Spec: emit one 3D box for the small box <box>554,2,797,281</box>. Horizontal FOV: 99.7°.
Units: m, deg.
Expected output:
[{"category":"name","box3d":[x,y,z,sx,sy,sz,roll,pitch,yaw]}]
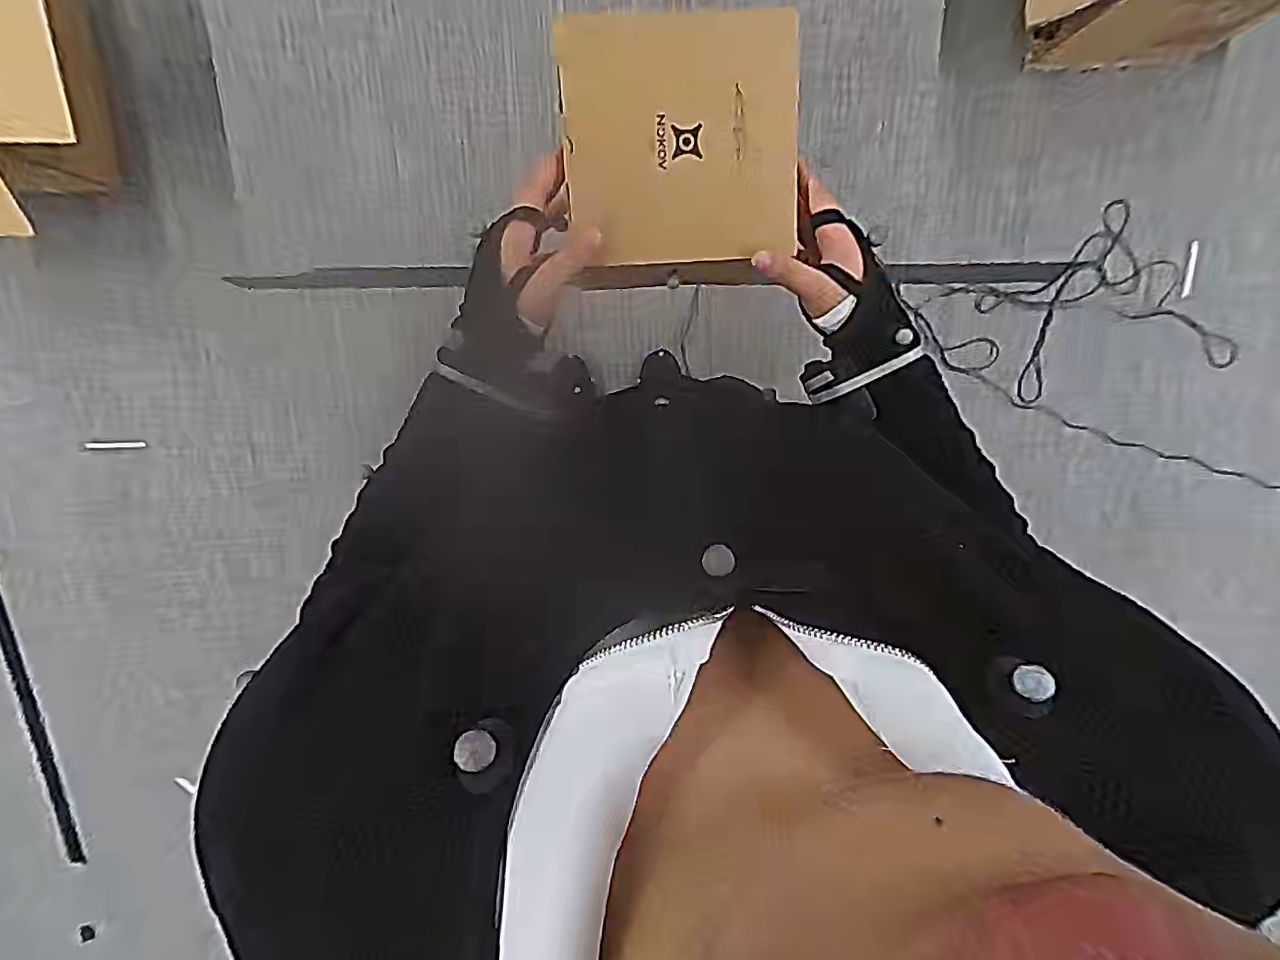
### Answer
[{"category":"small box","box3d":[0.025,-0.275,0.478,0.179,0.176,0.168,-5,105,-4]}]
